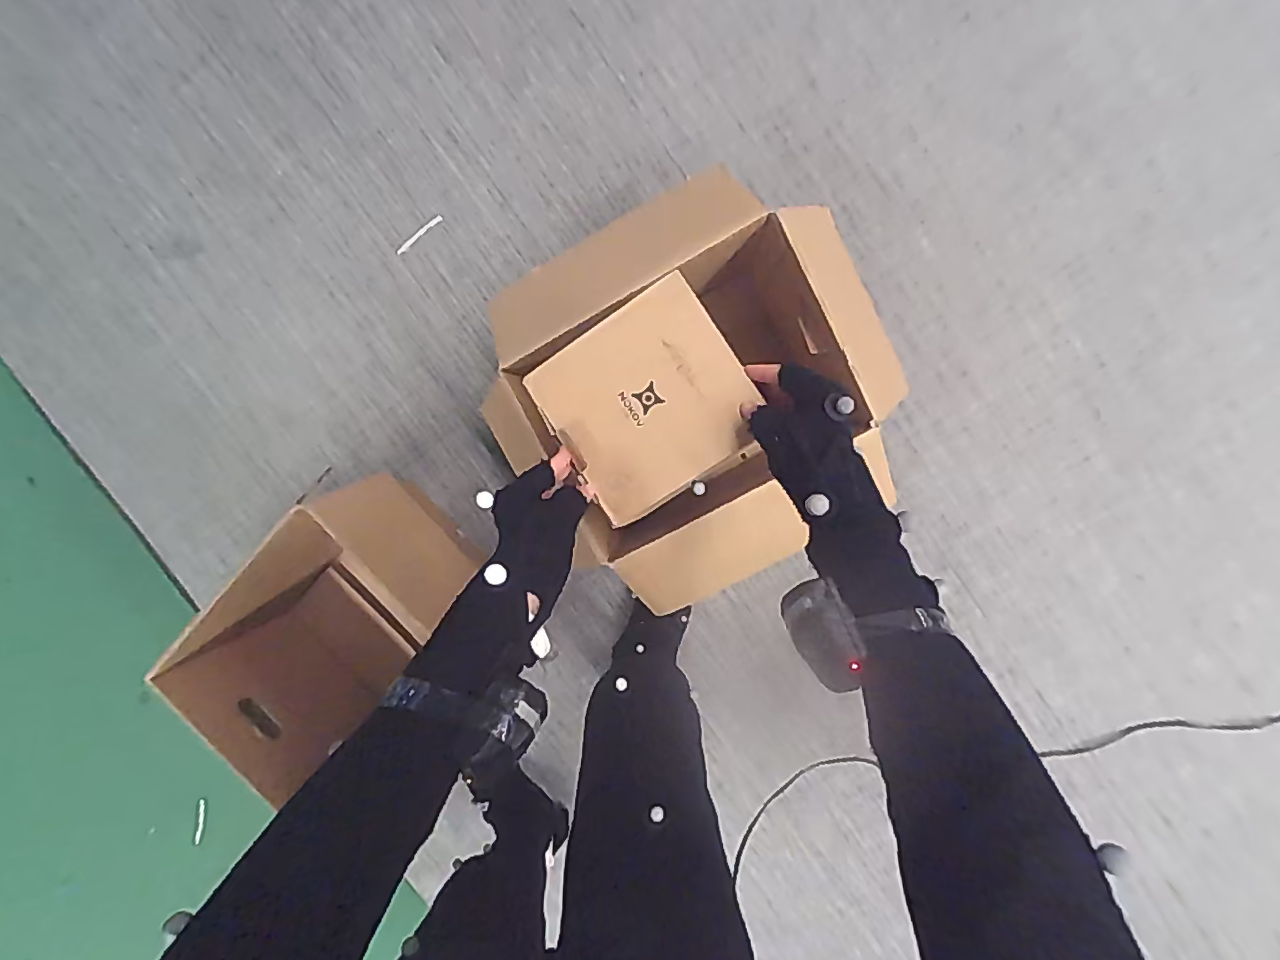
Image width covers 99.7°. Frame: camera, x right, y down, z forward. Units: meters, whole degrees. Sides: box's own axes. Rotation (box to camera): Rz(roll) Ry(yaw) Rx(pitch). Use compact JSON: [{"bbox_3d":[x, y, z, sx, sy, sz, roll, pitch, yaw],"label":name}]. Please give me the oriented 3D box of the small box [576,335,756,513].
[{"bbox_3d":[0.039,-0.078,0.748,0.179,0.176,0.168,-29,93,10],"label":"small box"}]
